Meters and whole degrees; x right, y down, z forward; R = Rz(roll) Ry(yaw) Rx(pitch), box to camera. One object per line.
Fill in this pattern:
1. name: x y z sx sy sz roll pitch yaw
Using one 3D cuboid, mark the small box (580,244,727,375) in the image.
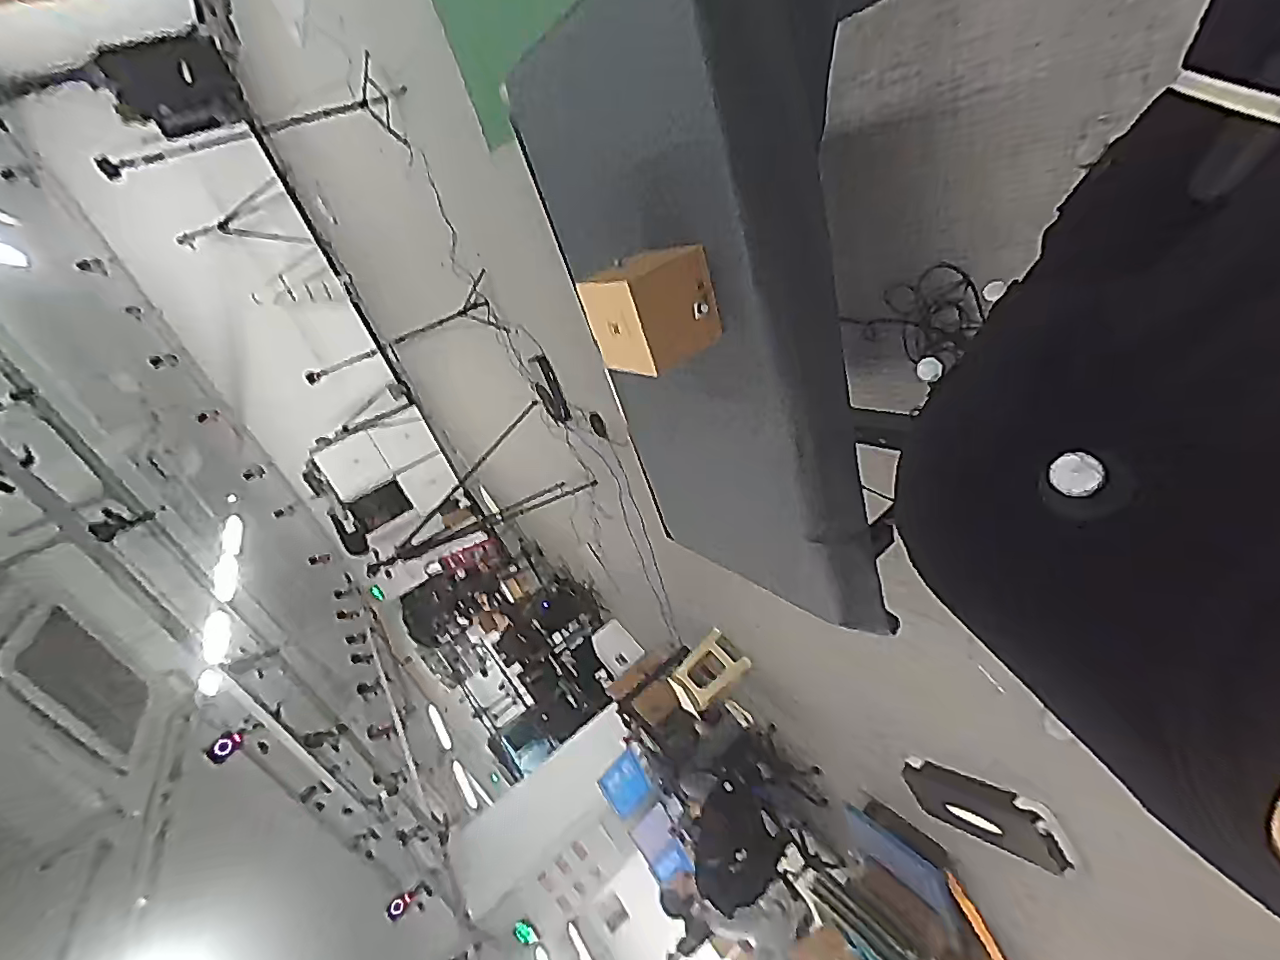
1. small box: 0.026 -0.308 0.972 0.179 0.176 0.168 23 142 52
